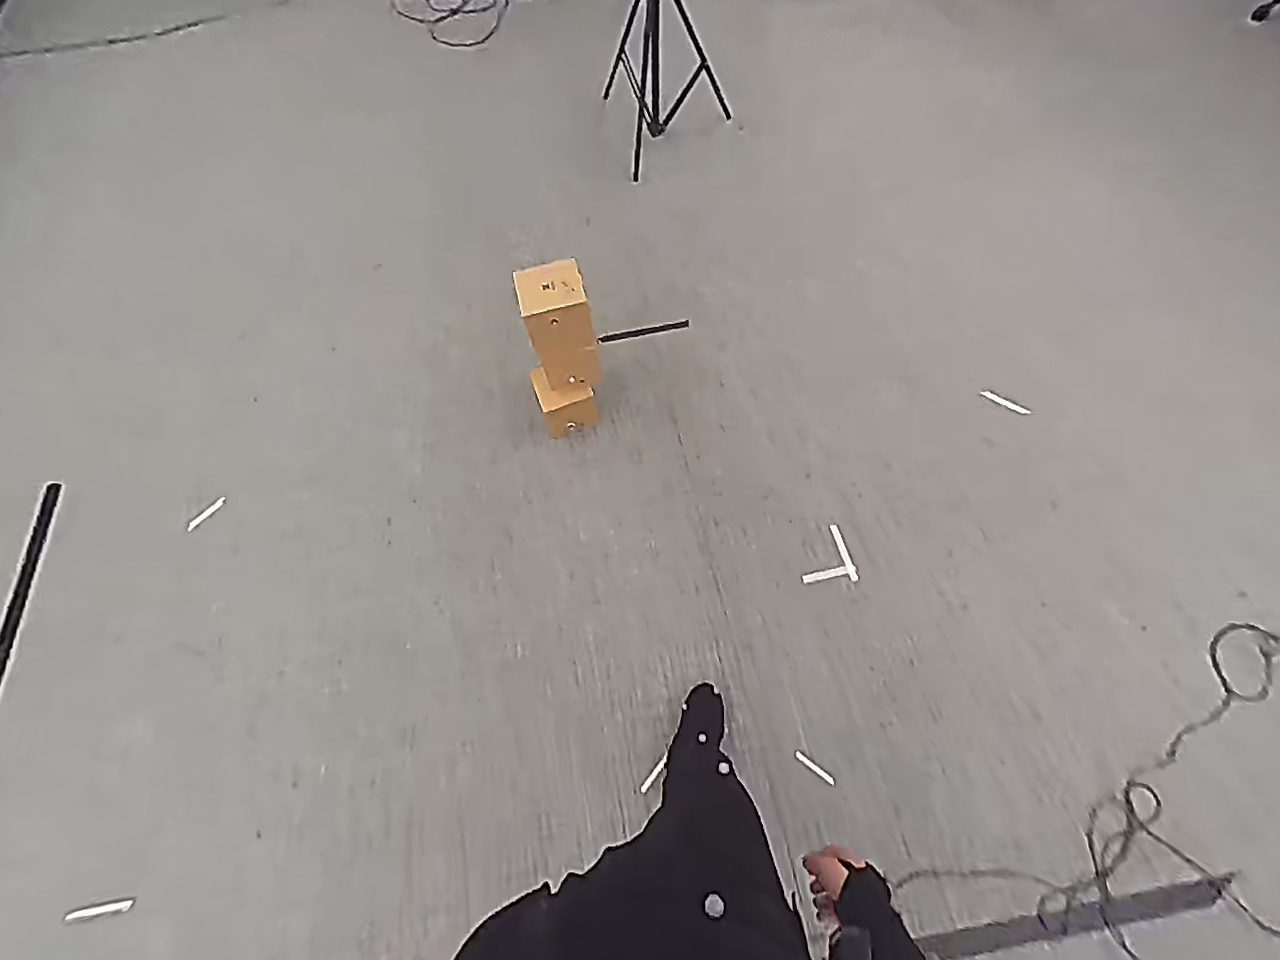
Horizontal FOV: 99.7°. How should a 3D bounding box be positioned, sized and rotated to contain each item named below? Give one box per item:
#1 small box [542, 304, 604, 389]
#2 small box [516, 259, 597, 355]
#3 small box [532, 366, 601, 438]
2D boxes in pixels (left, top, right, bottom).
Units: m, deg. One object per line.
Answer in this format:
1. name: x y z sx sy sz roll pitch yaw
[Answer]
1. small box: -0.202 -0.399 1.632 0.168 0.176 0.179 -8 64 0
2. small box: -0.225 -0.467 1.484 0.179 0.176 0.168 -14 64 -3
3. small box: -0.236 -0.267 1.751 0.168 0.176 0.179 -21 66 -6
